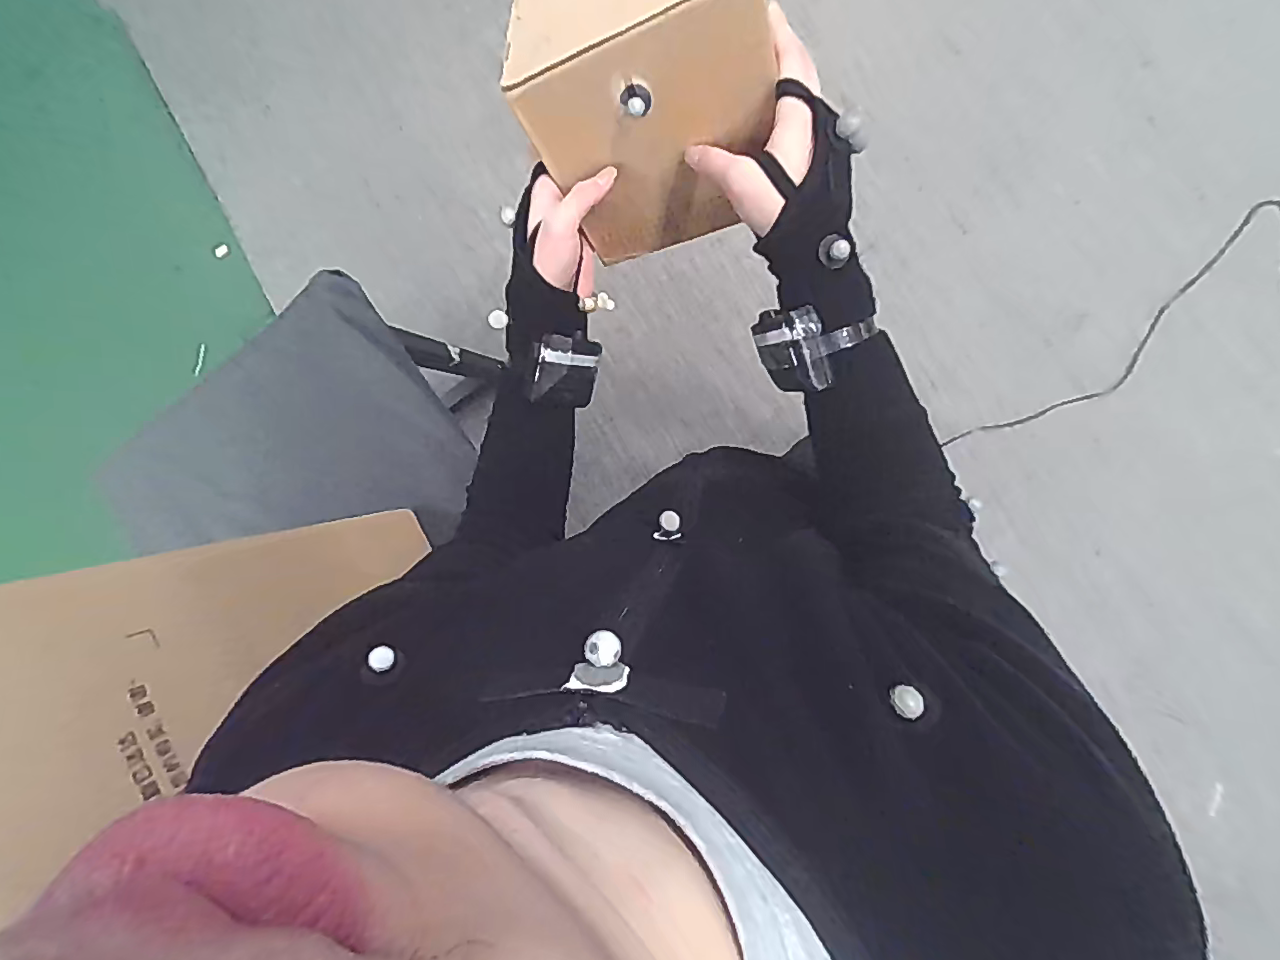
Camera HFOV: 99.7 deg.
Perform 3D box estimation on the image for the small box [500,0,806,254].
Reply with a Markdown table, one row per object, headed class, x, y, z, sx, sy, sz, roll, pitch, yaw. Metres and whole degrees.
| class | x | y | z | sx | sy | sz | roll | pitch | yaw |
| --- | --- | --- | --- | --- | --- | --- | --- | --- | --- |
| small box | 0.019 | -0.308 | 0.415 | 0.179 | 0.176 | 0.168 | -11 | 63 | 18 |
